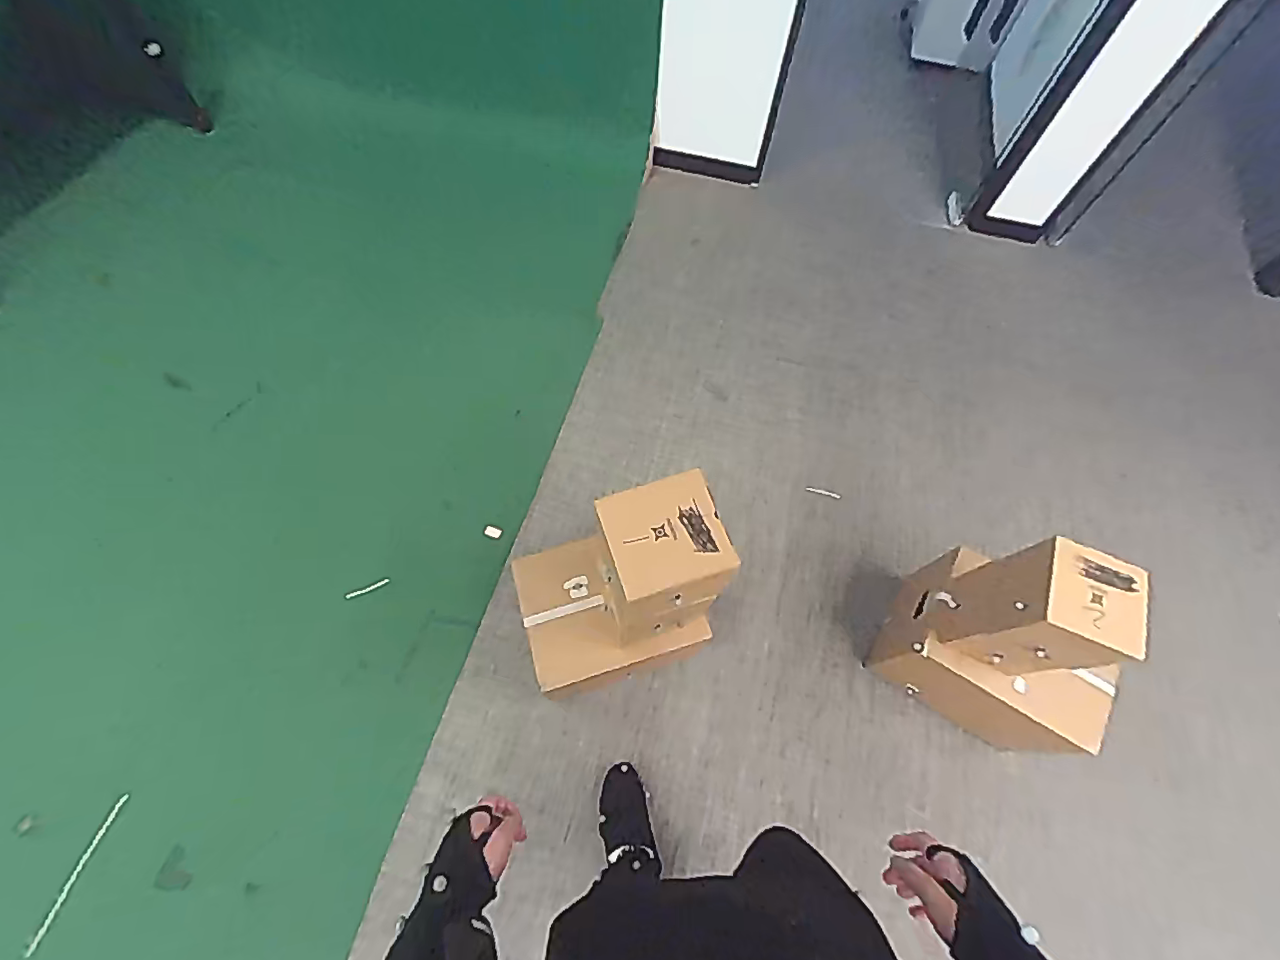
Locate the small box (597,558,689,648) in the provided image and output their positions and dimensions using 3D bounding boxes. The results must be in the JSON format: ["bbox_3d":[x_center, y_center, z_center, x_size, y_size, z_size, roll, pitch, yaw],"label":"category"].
[{"bbox_3d":[0.012,0.247,1.164,0.179,0.176,0.168,-16,65,-10],"label":"small box"}]

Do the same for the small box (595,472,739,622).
[{"bbox_3d":[0.035,0.113,0.868,0.179,0.176,0.168,-16,66,-9],"label":"small box"}]

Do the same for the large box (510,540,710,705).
[{"bbox_3d":[-0.077,0.349,1.385,0.408,0.320,0.320,-16,64,-9],"label":"large box"}]

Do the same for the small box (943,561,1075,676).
[{"bbox_3d":[0.792,0.308,1.175,0.168,0.176,0.179,24,66,9],"label":"small box"}]

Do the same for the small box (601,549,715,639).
[{"bbox_3d":[0.023,0.181,1.016,0.168,0.176,0.179,-14,66,-9],"label":"small box"}]
